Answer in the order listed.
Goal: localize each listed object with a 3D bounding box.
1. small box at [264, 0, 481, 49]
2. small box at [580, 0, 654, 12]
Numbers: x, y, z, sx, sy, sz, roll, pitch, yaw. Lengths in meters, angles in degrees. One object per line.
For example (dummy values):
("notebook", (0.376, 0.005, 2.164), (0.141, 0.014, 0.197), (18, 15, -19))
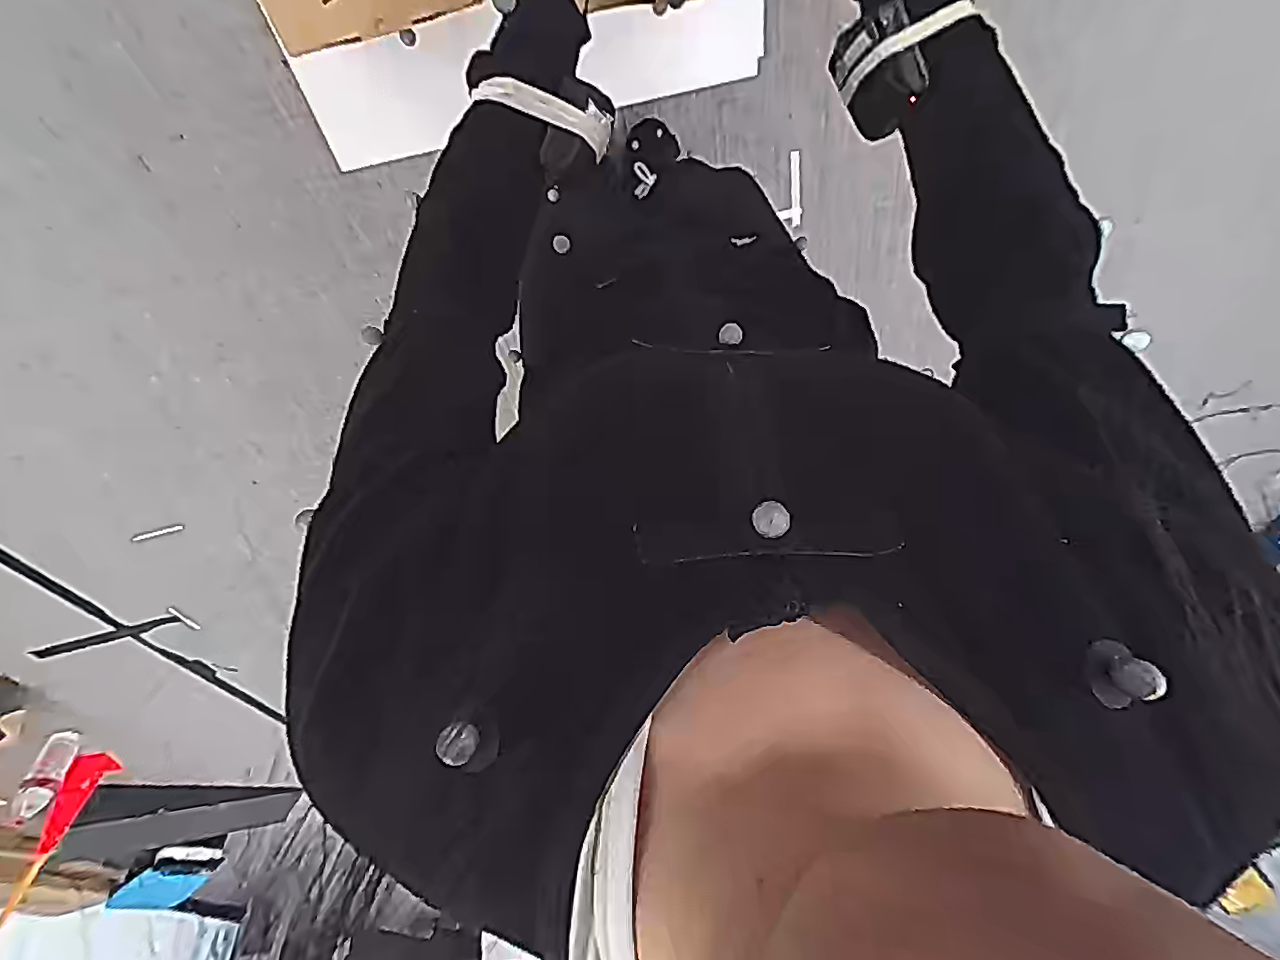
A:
("small box", (-0.236, -0.481, 0.436), (0.168, 0.176, 0.179), (-16, 134, 0))
("small box", (0.008, -0.529, 0.455), (0.168, 0.176, 0.179), (-13, 135, -3))
